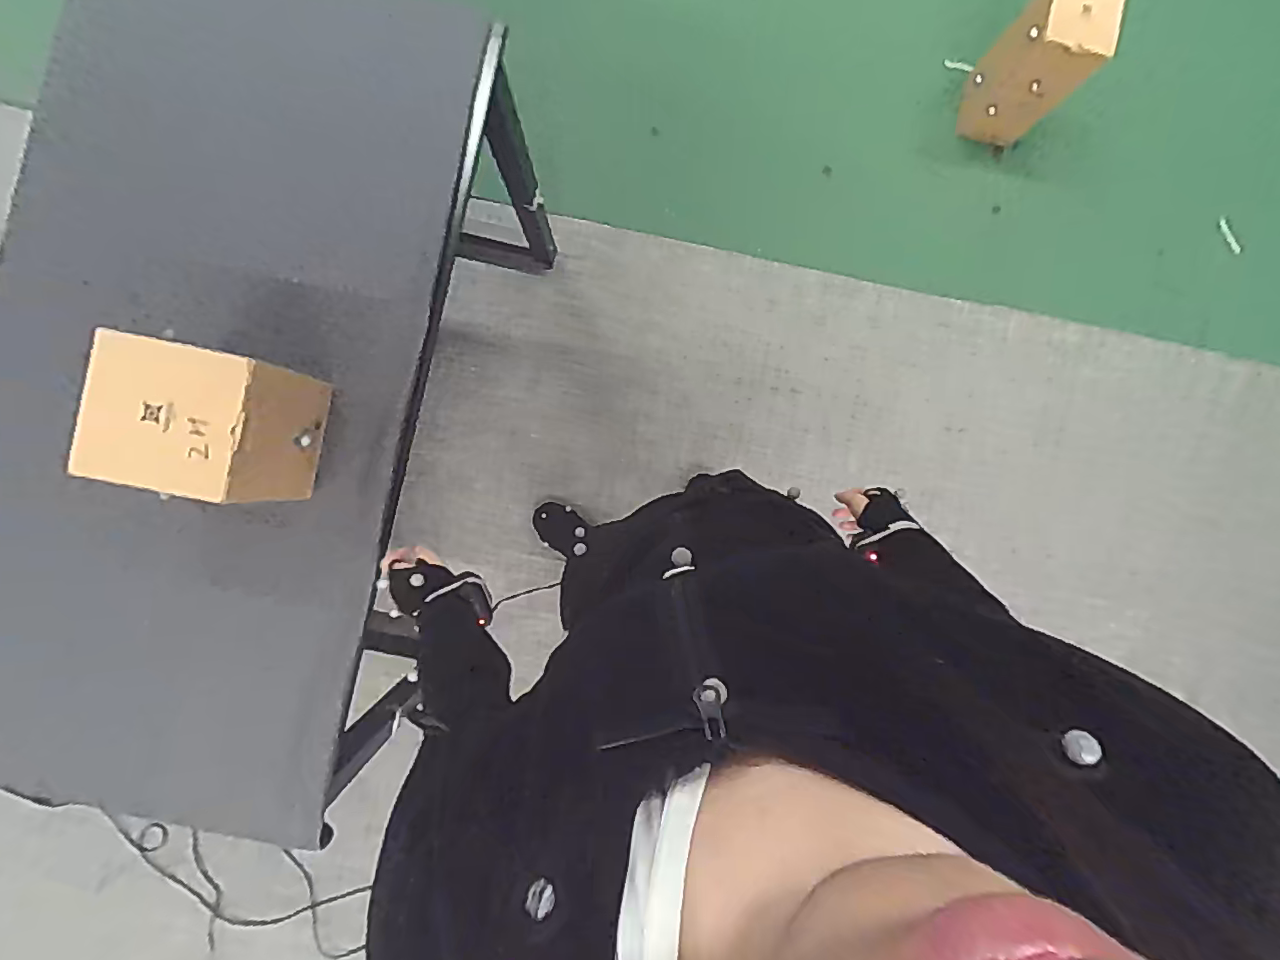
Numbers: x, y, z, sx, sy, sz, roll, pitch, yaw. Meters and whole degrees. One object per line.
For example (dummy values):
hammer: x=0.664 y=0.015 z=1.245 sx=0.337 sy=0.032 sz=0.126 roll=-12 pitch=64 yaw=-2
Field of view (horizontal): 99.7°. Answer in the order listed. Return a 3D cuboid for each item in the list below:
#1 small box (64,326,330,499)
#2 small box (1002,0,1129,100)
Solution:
small box: x=-0.528 y=-0.073 z=0.670 sx=0.179 sy=0.176 sz=0.168 roll=11 pitch=90 yaw=-1
small box: x=0.997 y=-1.055 z=1.276 sx=0.168 sy=0.176 sz=0.179 roll=12 pitch=89 yaw=-2
